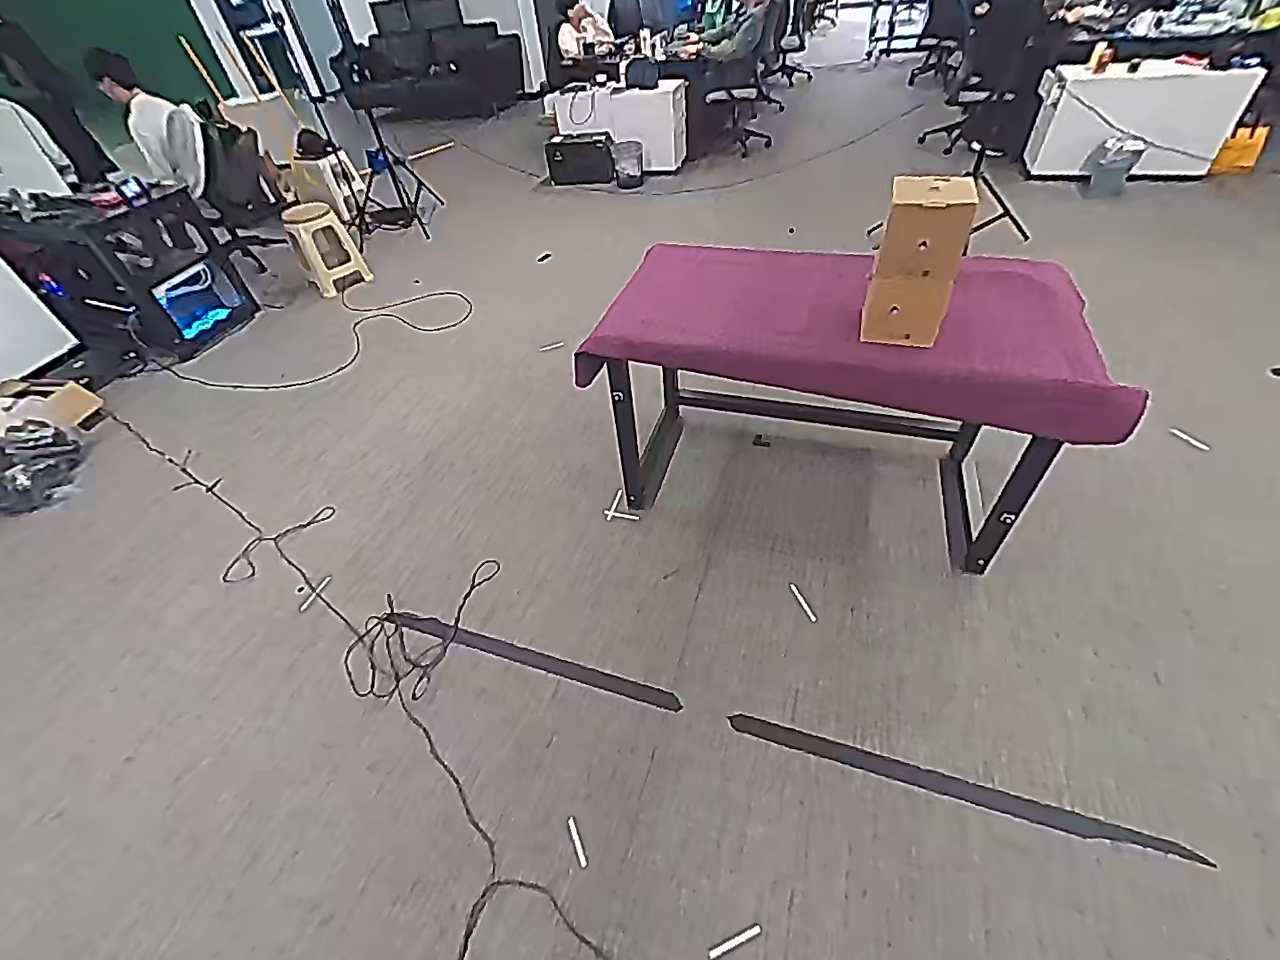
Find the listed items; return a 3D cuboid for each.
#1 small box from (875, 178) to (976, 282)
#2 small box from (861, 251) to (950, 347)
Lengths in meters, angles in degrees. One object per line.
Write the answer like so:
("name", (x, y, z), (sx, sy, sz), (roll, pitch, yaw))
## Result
("small box", (0.640, -0.566, 1.225), (0.168, 0.176, 0.179), (11, 48, 17))
("small box", (0.651, -0.448, 1.339), (0.168, 0.176, 0.179), (10, 47, 16))
